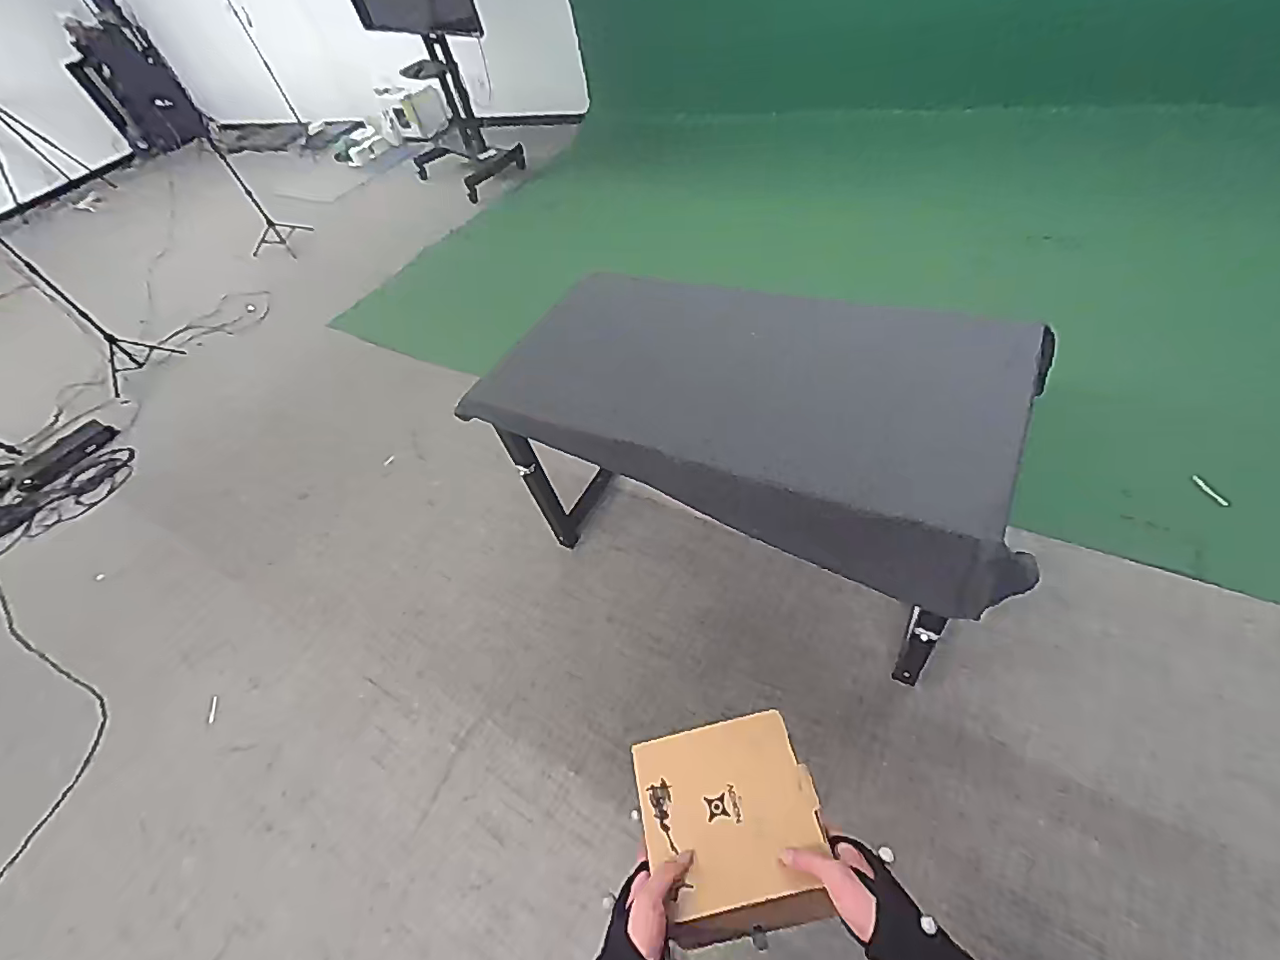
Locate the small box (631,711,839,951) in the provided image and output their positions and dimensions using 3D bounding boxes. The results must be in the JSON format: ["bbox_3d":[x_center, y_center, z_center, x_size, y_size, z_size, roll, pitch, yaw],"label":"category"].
[{"bbox_3d":[0.098,0.387,0.598,0.179,0.176,0.168,-14,40,0],"label":"small box"}]
